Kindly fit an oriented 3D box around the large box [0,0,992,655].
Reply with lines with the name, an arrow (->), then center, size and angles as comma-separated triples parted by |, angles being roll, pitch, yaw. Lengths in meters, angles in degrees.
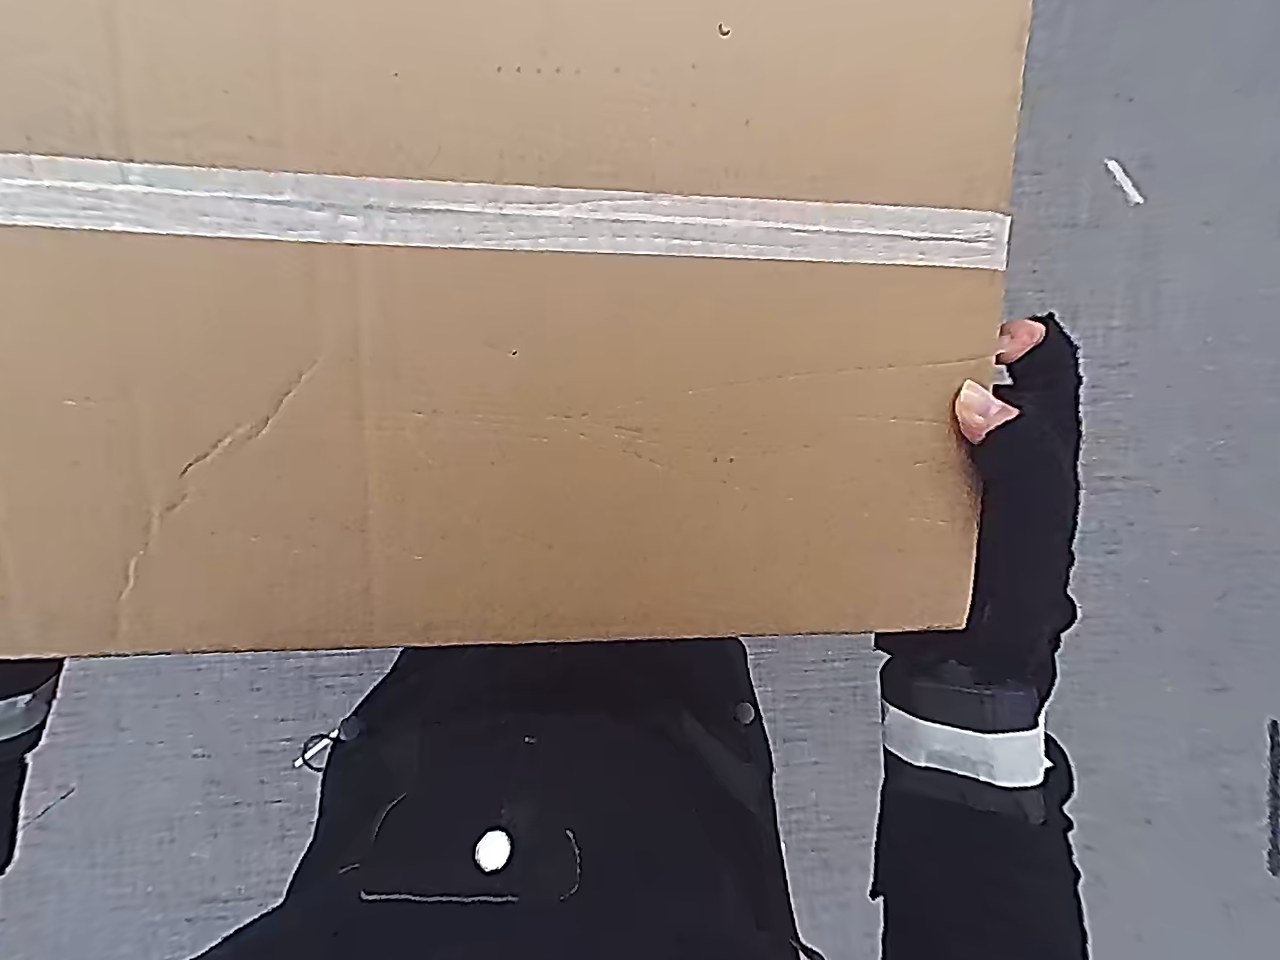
large box -> -0.080, -0.109, 0.346 | 0.408, 0.320, 0.320 | 0, 98, -7
